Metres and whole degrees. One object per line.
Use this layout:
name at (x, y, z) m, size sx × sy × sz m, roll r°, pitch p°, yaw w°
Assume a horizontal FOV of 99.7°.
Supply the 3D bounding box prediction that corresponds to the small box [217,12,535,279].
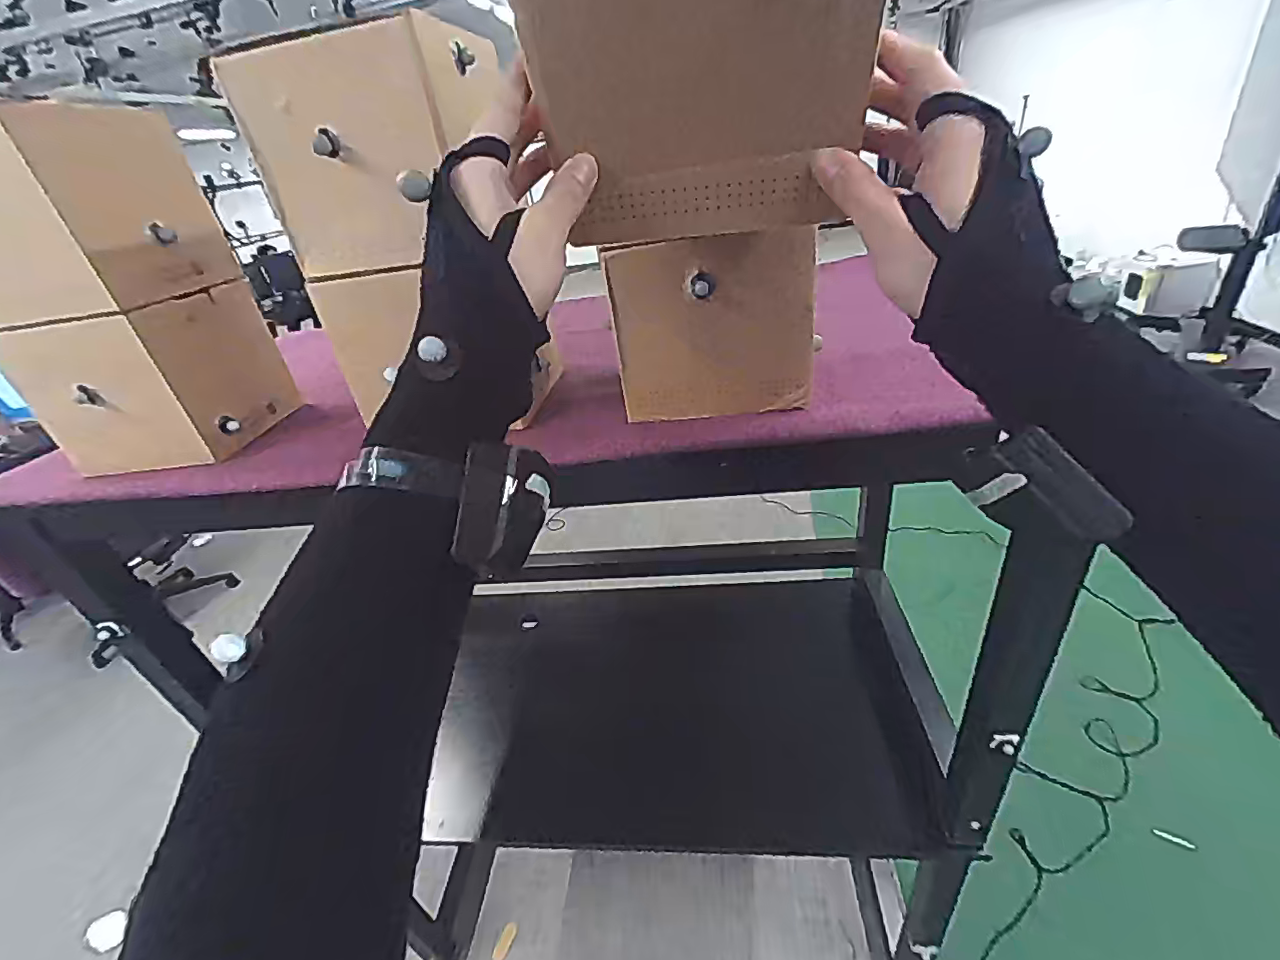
small box at (-0.220, -0.296, 0.506) m, size 0.179 × 0.176 × 0.168 m, roll -4°, pitch 32°, yaw 11°

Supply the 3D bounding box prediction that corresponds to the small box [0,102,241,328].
small box at (-0.569, -0.260, 0.545) m, size 0.179 × 0.176 × 0.168 m, roll -4°, pitch 32°, yaw 8°

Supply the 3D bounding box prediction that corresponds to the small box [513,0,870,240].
small box at (0.031, -0.264, 0.322) m, size 0.179 × 0.176 × 0.168 m, roll -2°, pitch 55°, yaw 8°

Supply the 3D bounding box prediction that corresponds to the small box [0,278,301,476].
small box at (-0.547, -0.120, 0.628) m, size 0.179 × 0.176 × 0.168 m, roll -6°, pitch 31°, yaw 8°

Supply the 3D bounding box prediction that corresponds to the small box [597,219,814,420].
small box at (0.072, -0.168, 0.532) m, size 0.179 × 0.176 × 0.168 m, roll -3°, pitch 34°, yaw 11°
